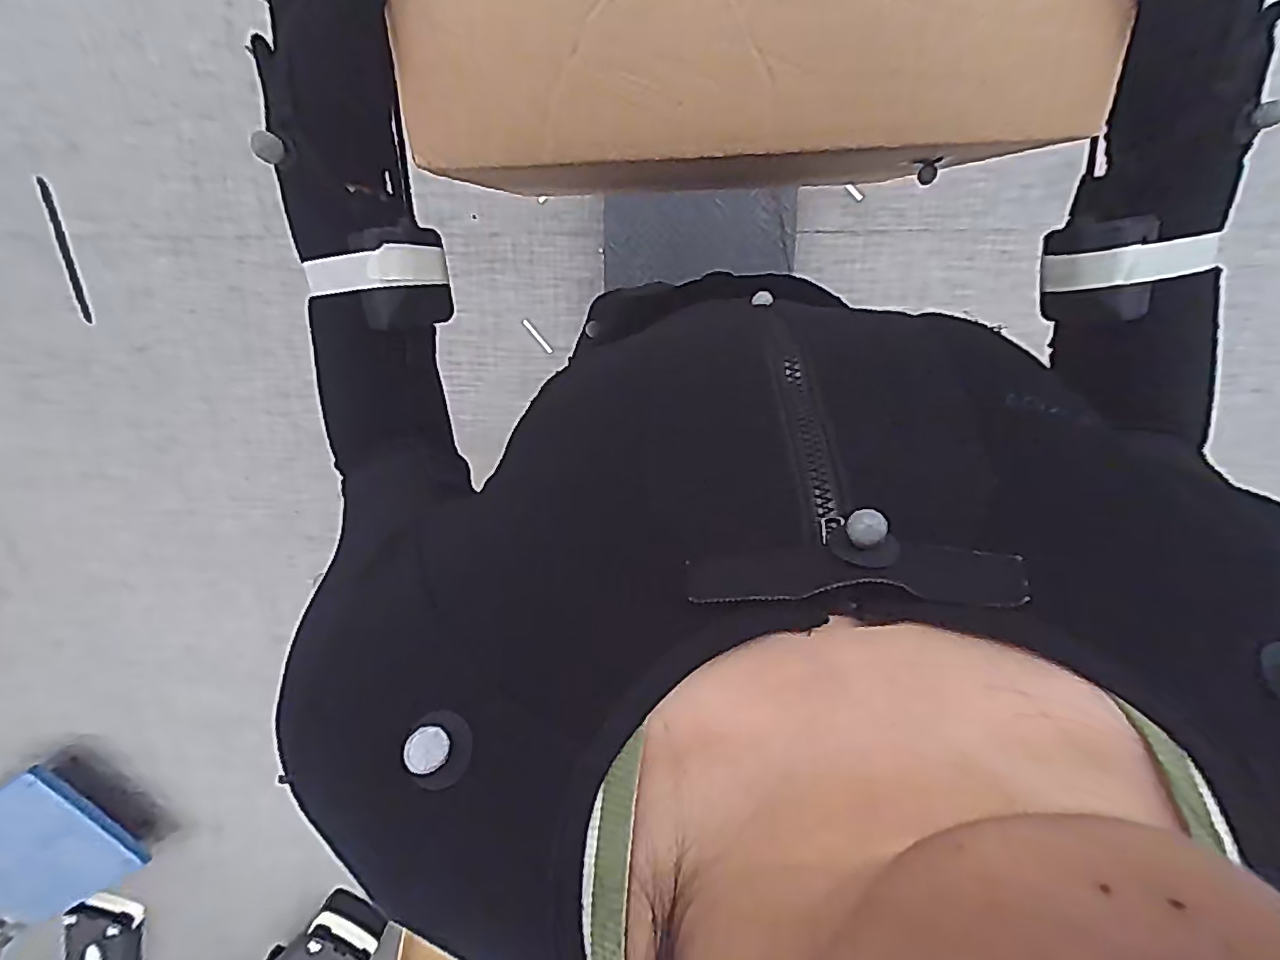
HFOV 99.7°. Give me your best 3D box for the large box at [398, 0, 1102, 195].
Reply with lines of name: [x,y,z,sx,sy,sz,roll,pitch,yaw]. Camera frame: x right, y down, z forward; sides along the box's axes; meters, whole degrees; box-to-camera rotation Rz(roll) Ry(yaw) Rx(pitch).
large box: [0.060,-0.402,0.405,0.408,0.320,0.320,-2,114,2]
